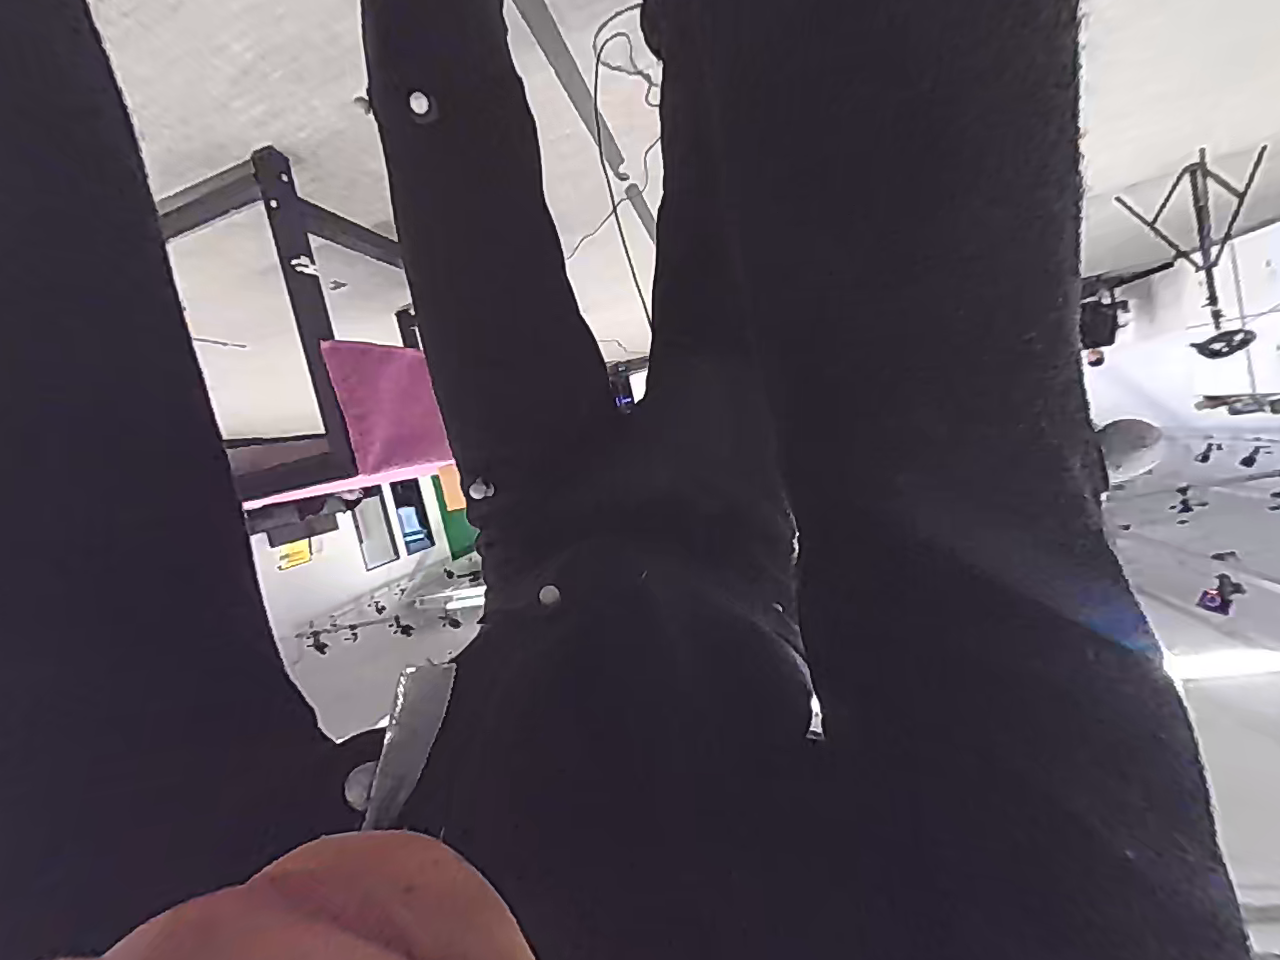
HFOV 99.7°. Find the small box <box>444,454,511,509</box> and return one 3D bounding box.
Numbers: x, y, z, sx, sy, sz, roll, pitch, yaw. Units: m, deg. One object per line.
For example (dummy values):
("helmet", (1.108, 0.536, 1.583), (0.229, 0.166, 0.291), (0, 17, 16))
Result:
("small box", (-0.623, 0.003, 2.059), (0.179, 0.176, 0.168), (-13, -176, 18))
